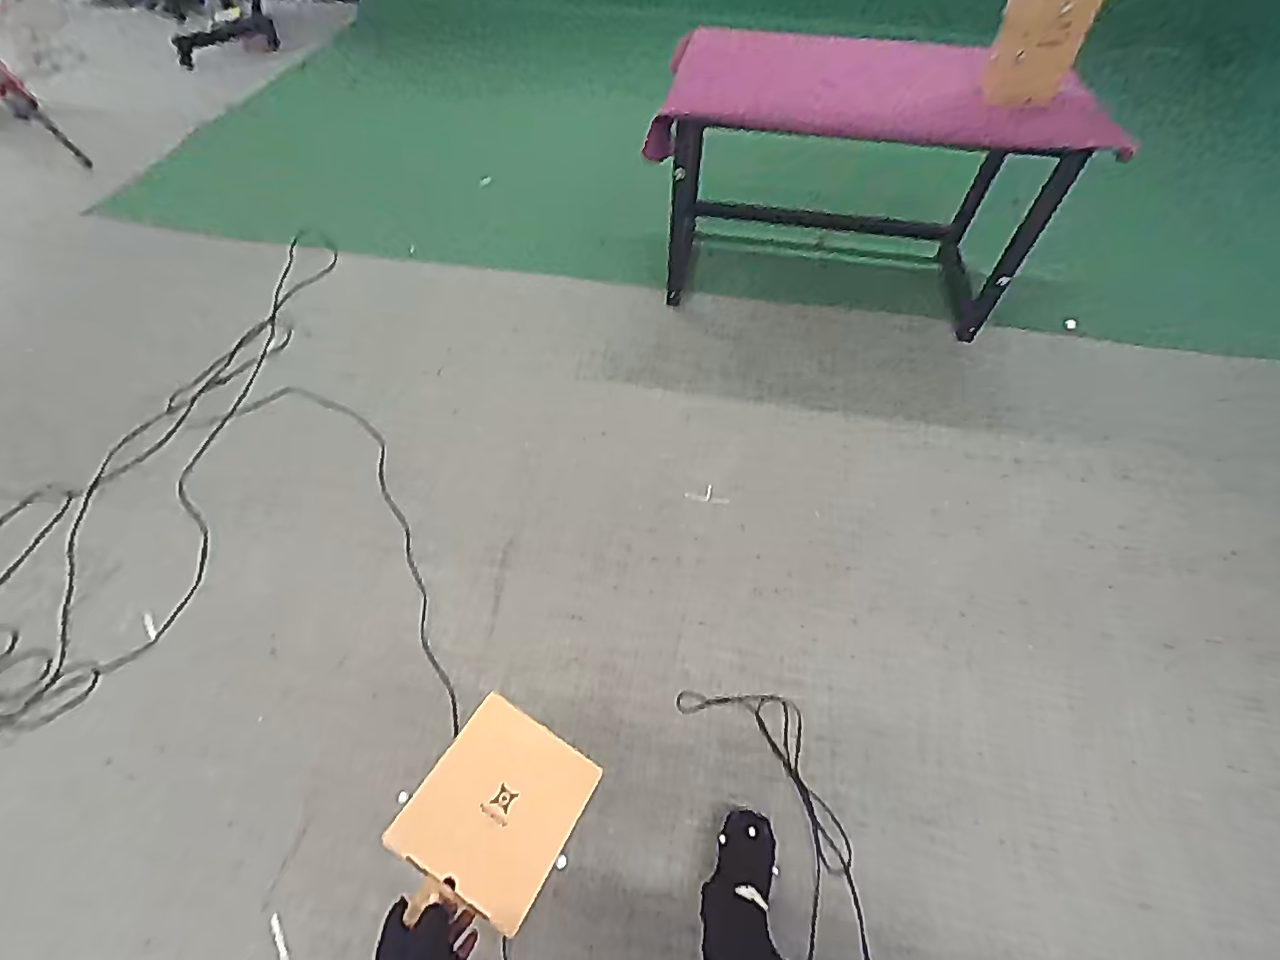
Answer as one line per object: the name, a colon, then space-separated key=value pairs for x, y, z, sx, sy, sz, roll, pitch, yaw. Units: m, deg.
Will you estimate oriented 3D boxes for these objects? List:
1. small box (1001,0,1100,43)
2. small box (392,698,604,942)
small box: x=1.085 y=-1.277 z=1.413 sx=0.168 sy=0.176 sz=0.179 roll=5 pitch=55 yaw=4
small box: x=-0.171 y=0.402 z=0.656 sx=0.168 sy=0.176 sz=0.179 roll=33 pitch=54 yaw=4
